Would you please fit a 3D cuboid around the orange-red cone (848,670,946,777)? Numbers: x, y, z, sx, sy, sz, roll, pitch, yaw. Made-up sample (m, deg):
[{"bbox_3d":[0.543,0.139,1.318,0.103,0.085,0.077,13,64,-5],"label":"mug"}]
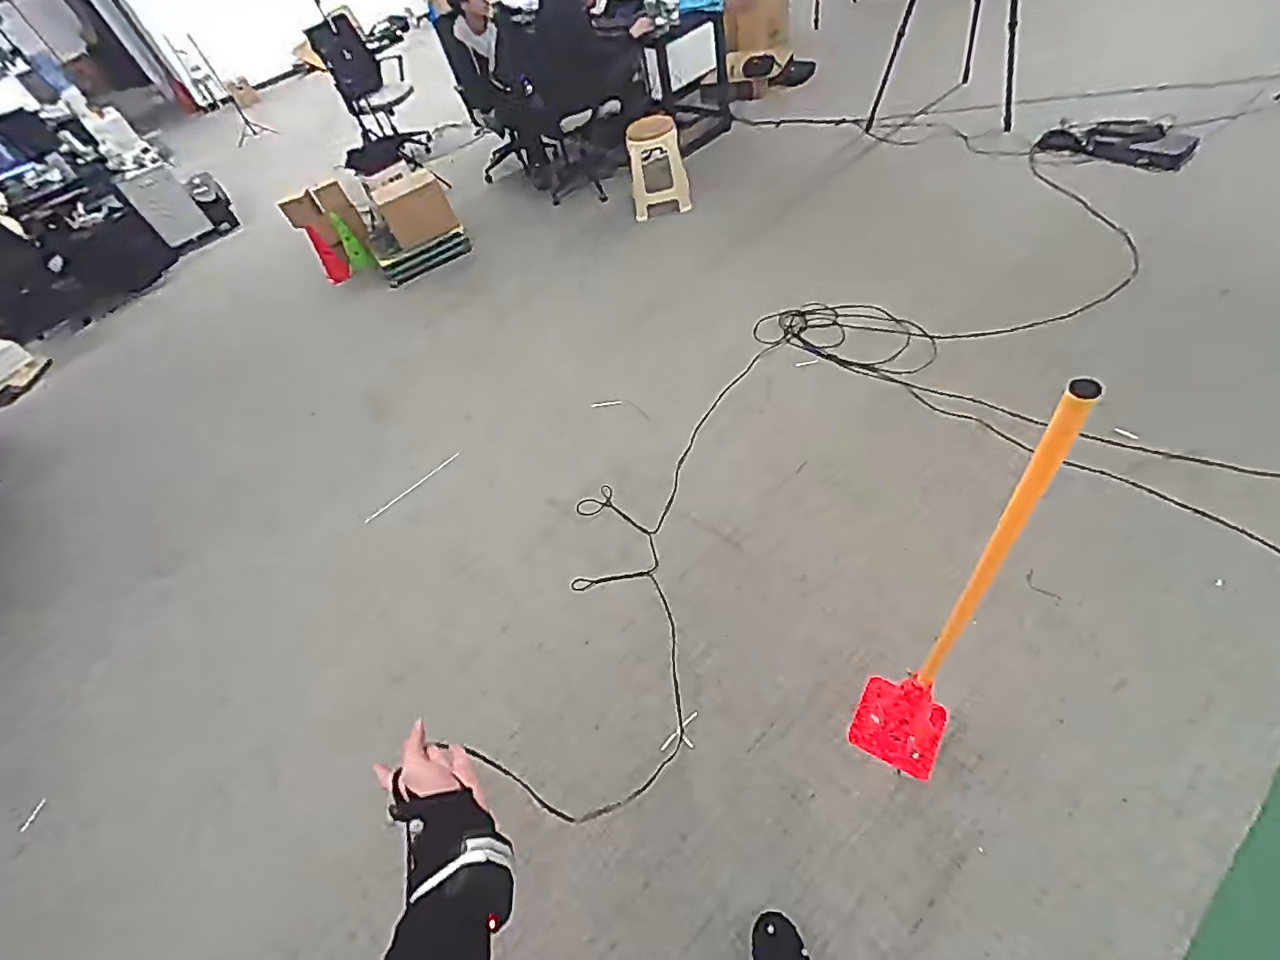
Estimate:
[{"bbox_3d":[0.628,0.521,1.264,0.198,0.360,0.199,23,60,29],"label":"orange-red cone"}]
